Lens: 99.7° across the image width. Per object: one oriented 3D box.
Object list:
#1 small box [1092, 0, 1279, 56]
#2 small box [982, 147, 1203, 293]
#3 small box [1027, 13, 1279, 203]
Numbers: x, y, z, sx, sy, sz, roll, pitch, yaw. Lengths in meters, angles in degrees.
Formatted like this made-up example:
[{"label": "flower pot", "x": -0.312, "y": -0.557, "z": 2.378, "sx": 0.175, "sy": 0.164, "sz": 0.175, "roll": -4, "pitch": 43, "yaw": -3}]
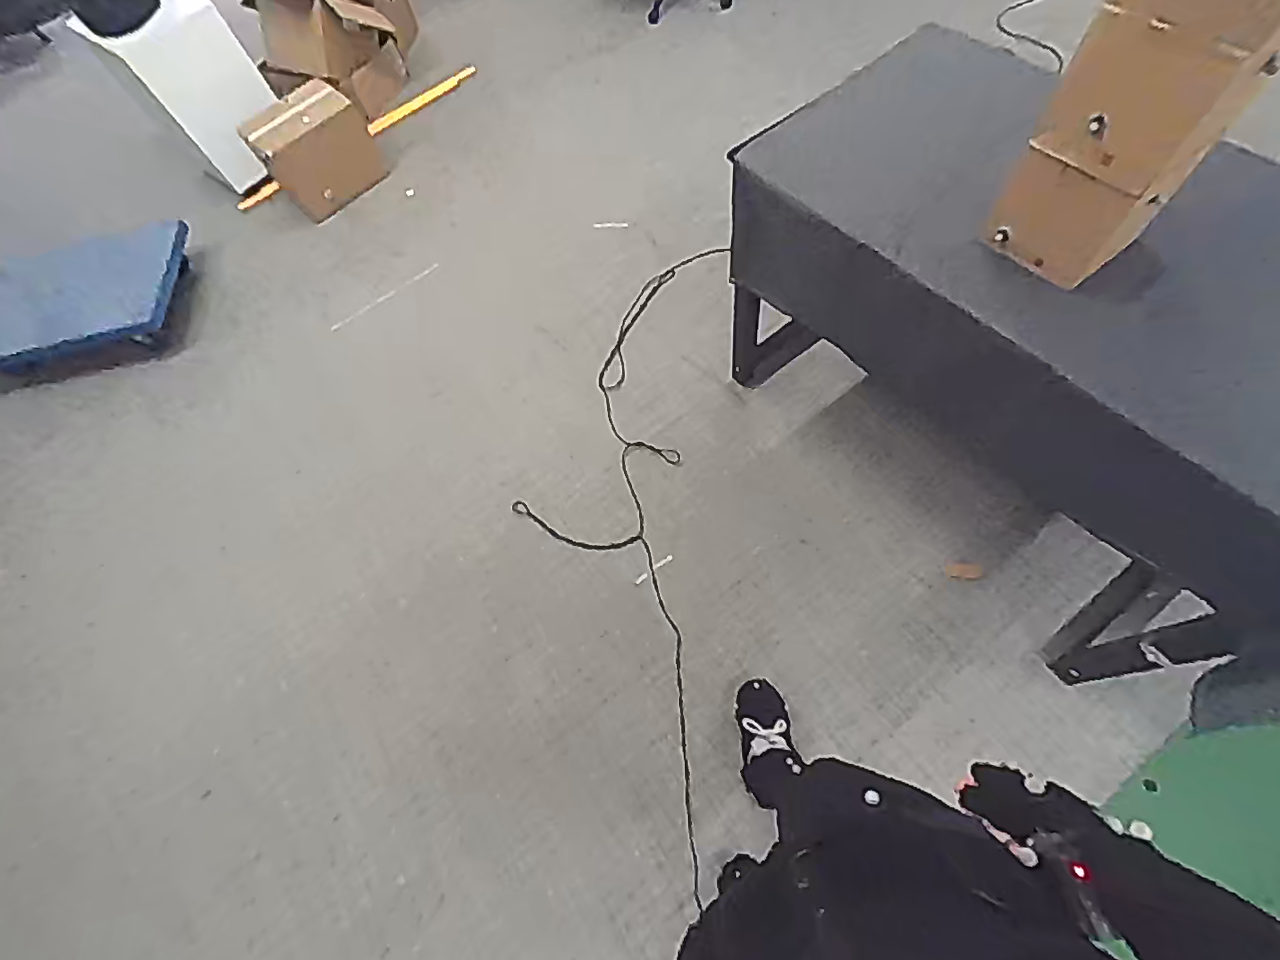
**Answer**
[{"label": "small box", "x": 0.624, "y": -0.566, "z": 0.536, "sx": 0.168, "sy": 0.176, "sz": 0.179, "roll": -35, "pitch": 64, "yaw": -10}, {"label": "small box", "x": 0.667, "y": -0.424, "z": 0.828, "sx": 0.179, "sy": 0.176, "sz": 0.168, "roll": -36, "pitch": 64, "yaw": -11}, {"label": "small box", "x": 0.646, "y": -0.496, "z": 0.684, "sx": 0.179, "sy": 0.176, "sz": 0.168, "roll": -36, "pitch": 64, "yaw": -10}]
